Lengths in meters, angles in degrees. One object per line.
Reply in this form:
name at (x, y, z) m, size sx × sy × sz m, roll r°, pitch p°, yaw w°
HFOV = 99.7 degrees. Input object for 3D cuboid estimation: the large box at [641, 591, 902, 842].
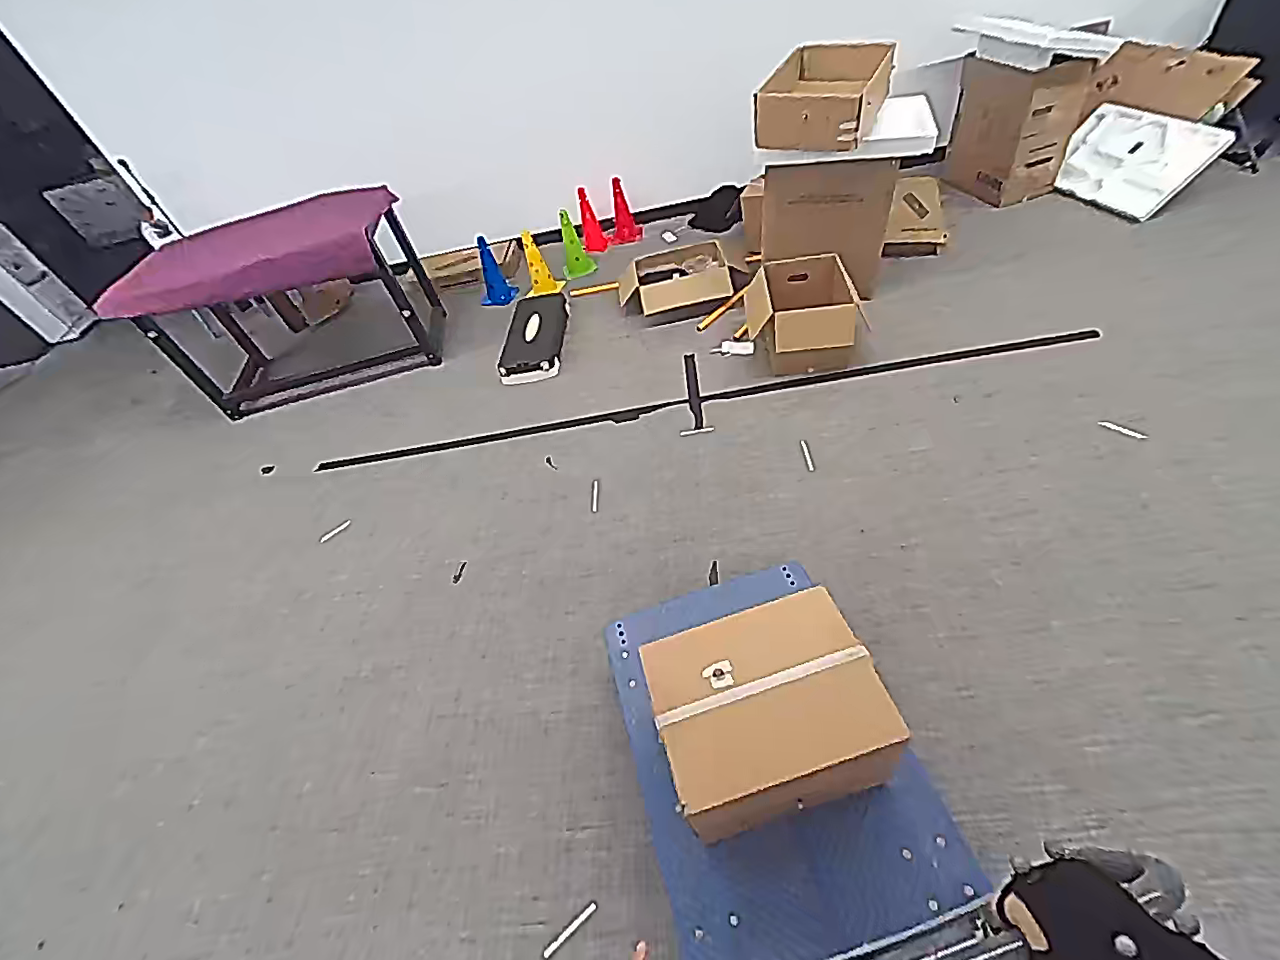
large box at (0.257, 0.494, 1.124) m, size 0.408 × 0.320 × 0.320 m, roll -19°, pitch 46°, yaw -1°
